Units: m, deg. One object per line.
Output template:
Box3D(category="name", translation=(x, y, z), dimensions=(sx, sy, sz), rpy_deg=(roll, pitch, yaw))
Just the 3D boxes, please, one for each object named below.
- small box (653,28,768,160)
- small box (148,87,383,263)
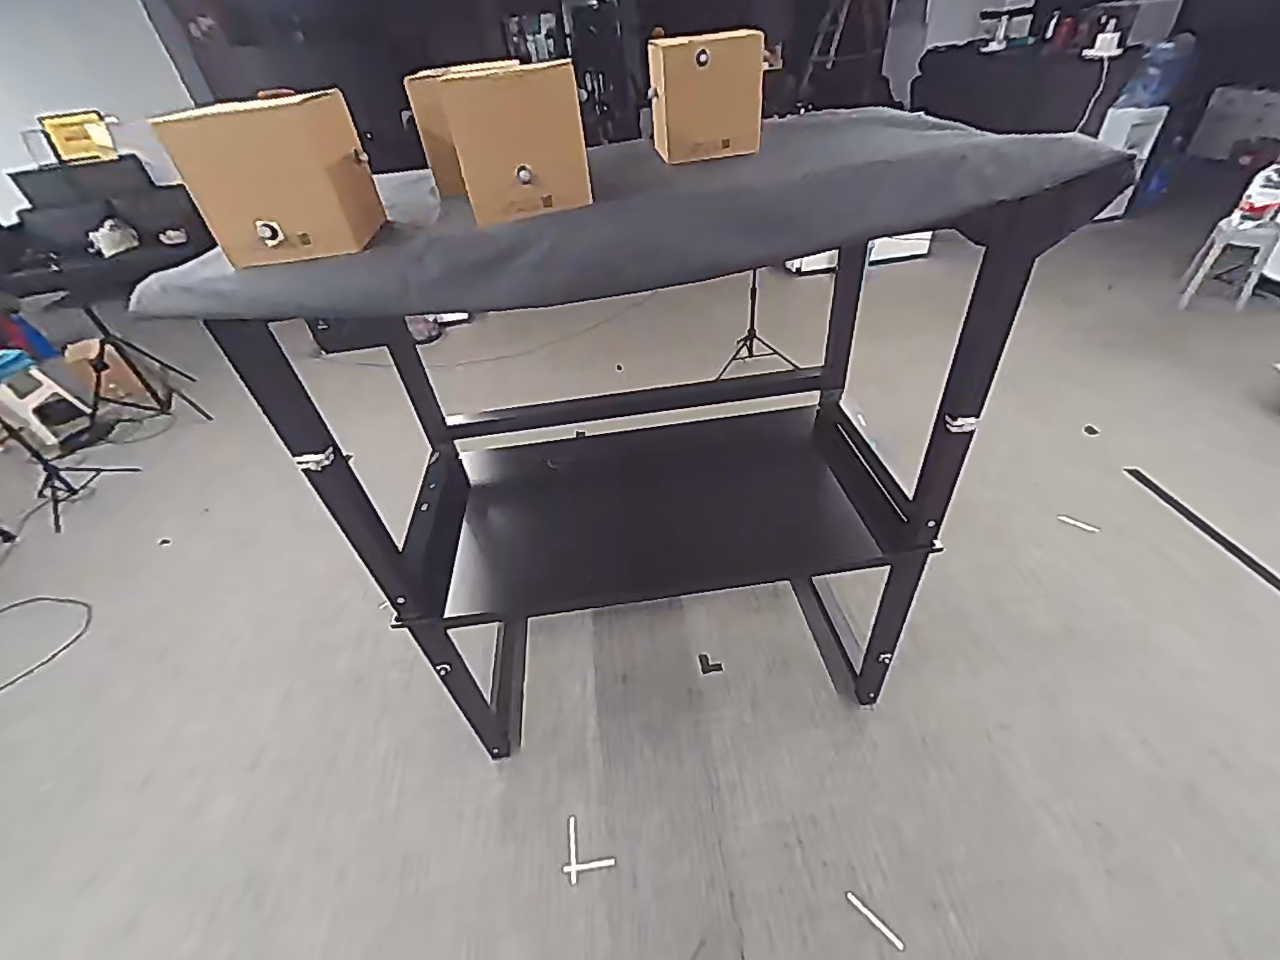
Box3D(category="small box", translation=(0.117, -0.676, 0.951), dimensions=(0.168, 0.176, 0.179), rpy_deg=(-9, 40, -1))
Box3D(category="small box", translation=(-0.459, -0.397, 0.704), dimensions=(0.168, 0.176, 0.179), rpy_deg=(-10, 40, -3))
